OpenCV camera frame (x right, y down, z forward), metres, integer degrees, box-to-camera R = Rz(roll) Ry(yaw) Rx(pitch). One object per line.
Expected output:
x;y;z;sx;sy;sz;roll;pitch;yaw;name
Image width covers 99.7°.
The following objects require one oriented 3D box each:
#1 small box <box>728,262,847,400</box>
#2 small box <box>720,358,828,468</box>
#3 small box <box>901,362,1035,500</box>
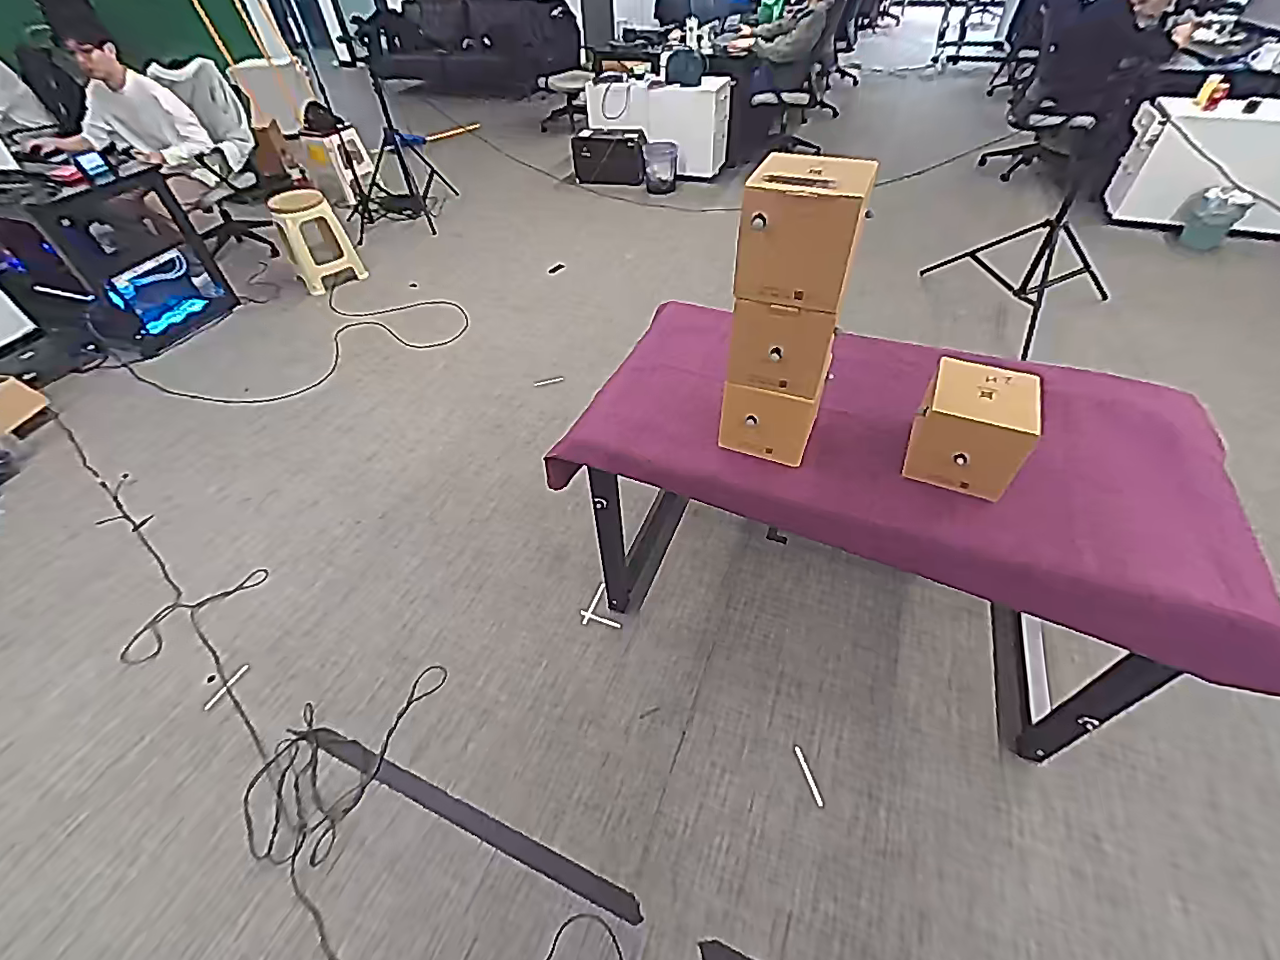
0.261;-0.268;0.976;0.168;0.176;0.179;15;49;16;small box
0.265;-0.150;1.089;0.168;0.176;0.179;17;48;17;small box
0.607;-0.089;1.013;0.168;0.176;0.179;18;50;19;small box
